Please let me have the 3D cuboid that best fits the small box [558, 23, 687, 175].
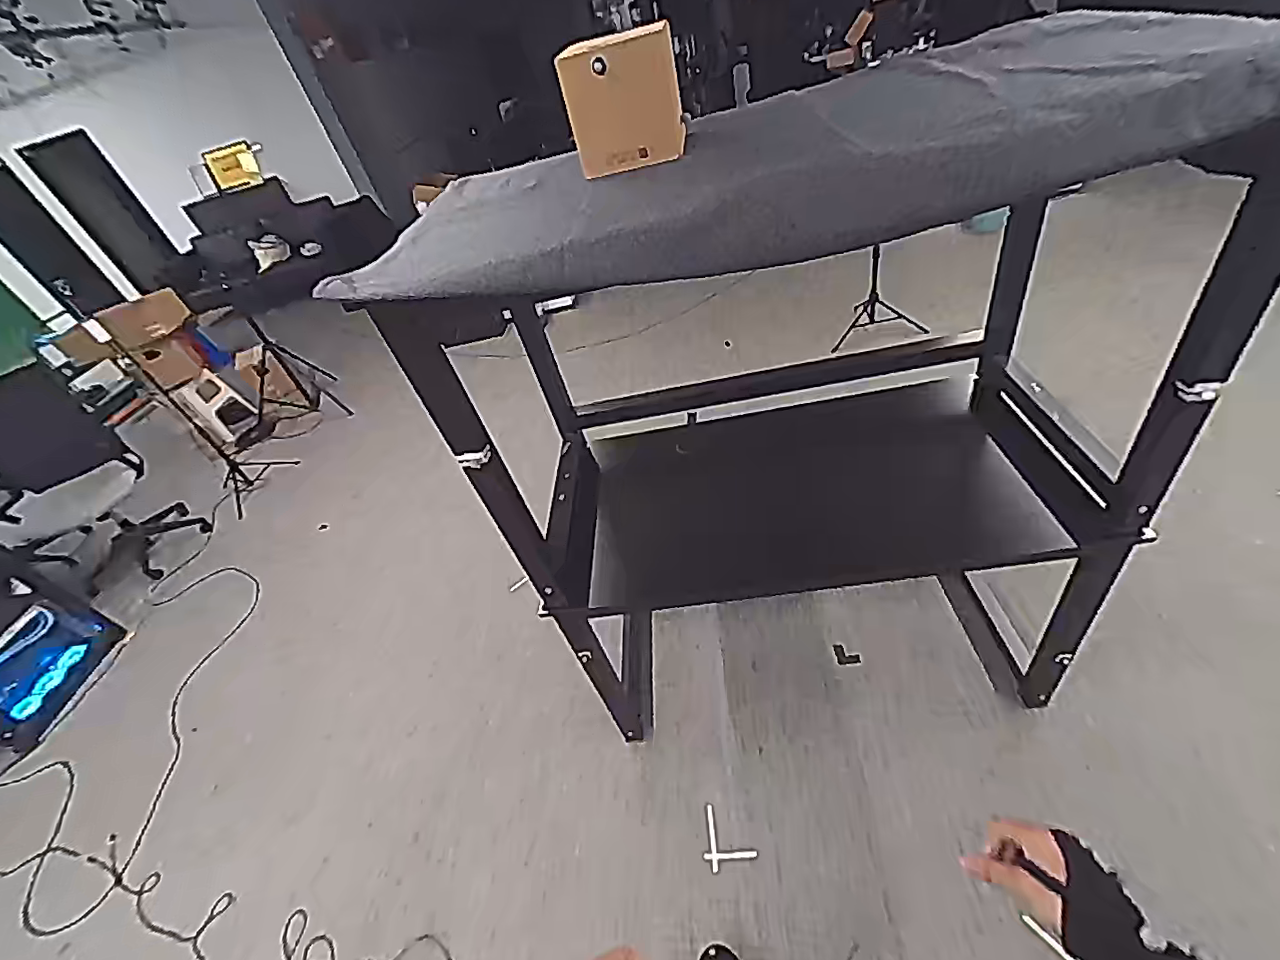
[{"bbox_3d":[-0.018,-0.628,0.896,0.168,0.176,0.179,-6,41,13],"label":"small box"}]
